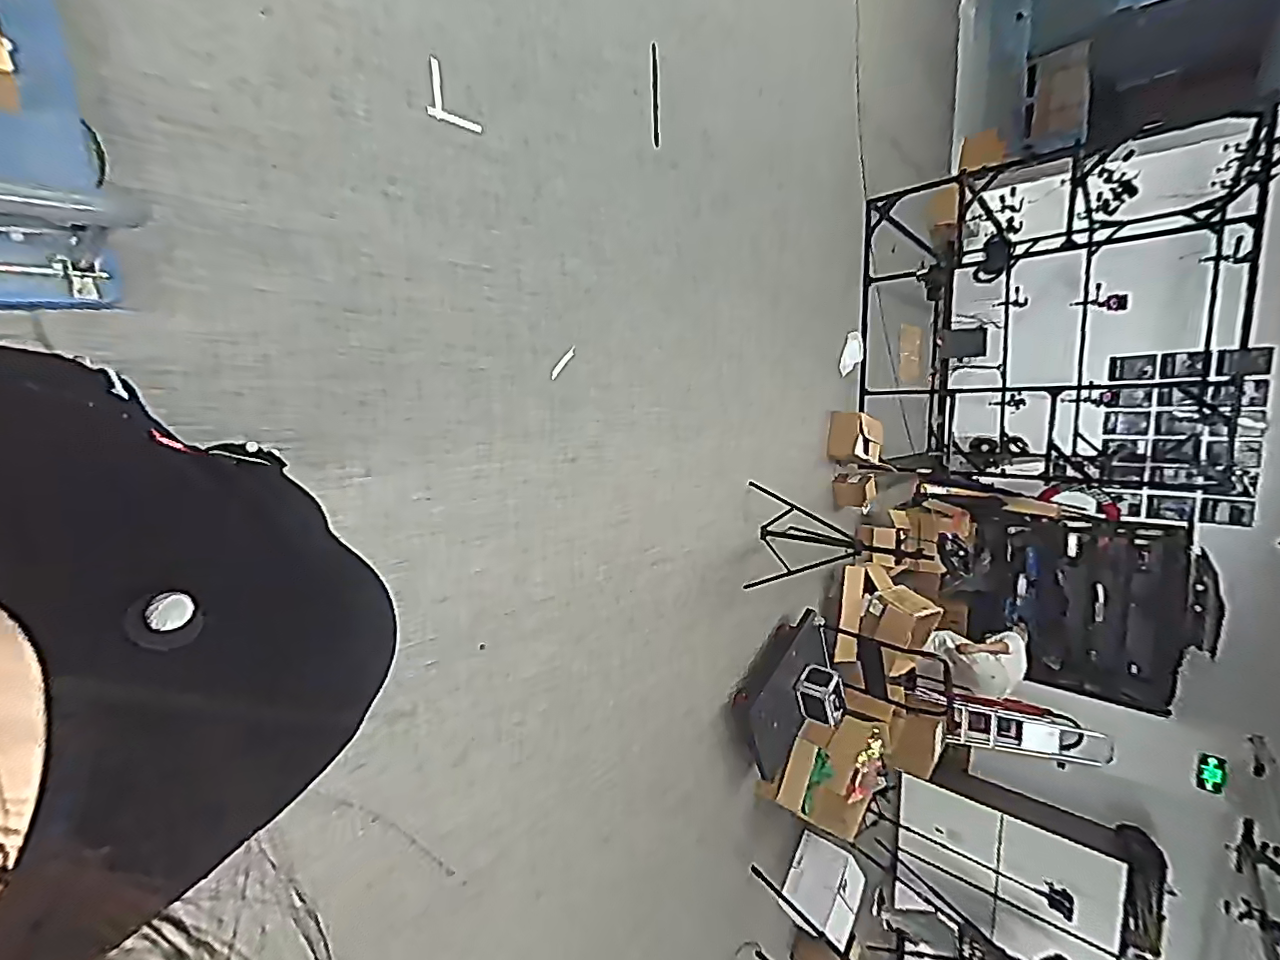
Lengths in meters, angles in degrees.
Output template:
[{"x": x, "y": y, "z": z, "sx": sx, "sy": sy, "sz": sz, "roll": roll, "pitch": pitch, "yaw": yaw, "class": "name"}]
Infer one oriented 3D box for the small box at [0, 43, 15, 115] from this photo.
[{"x": -1.005, "y": -0.623, "z": 0.730, "sx": 0.179, "sy": 0.176, "sz": 0.168, "roll": -24, "pitch": 112, "yaw": -44, "class": "small box"}]
